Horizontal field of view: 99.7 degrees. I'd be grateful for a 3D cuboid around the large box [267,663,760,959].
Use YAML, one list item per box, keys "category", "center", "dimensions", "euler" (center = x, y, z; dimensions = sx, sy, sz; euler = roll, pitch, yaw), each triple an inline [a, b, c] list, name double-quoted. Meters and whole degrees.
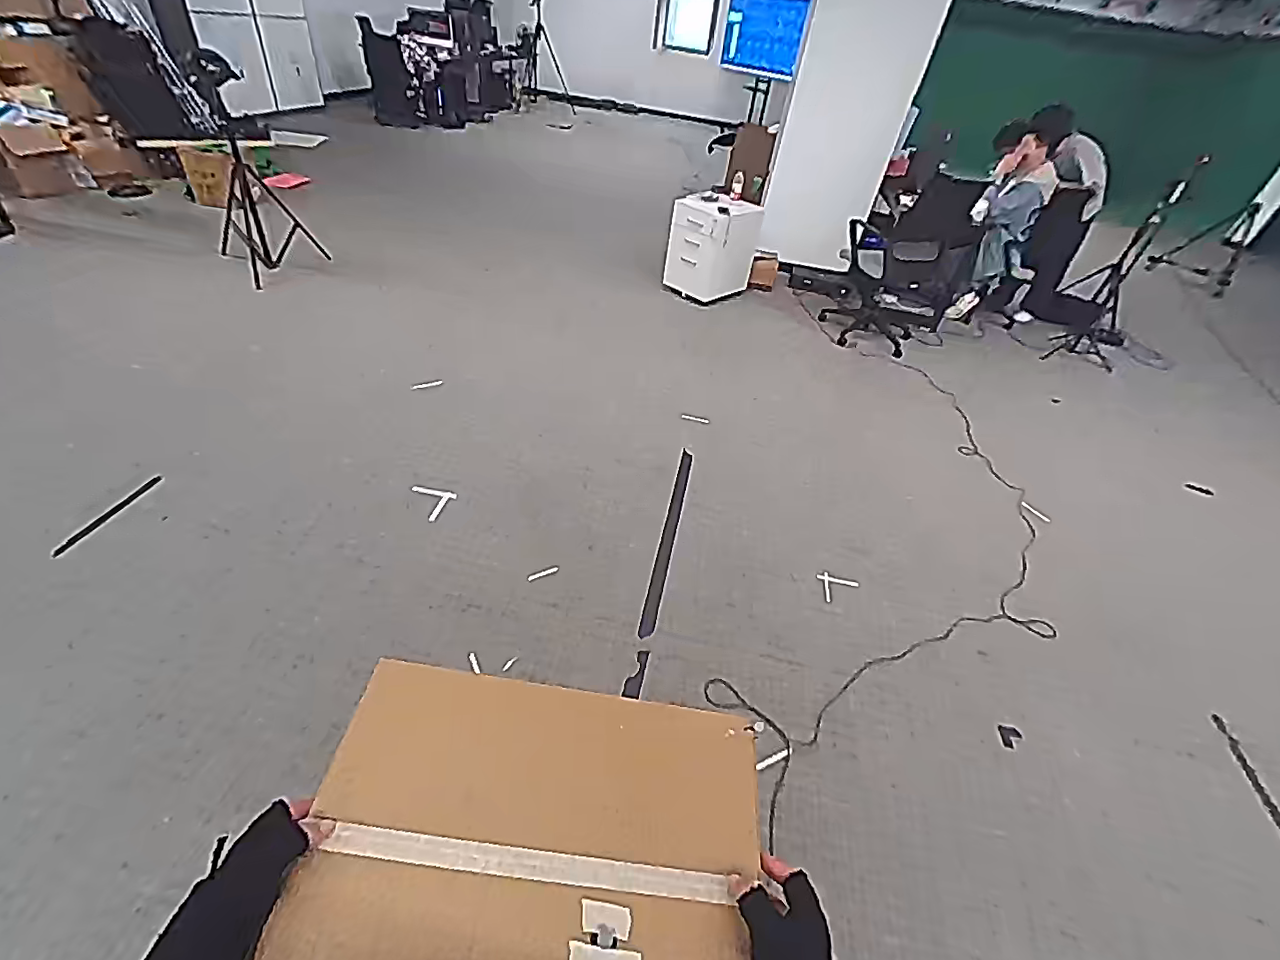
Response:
- category: "large box"
  center: [-0.113, 0.438, 0.598]
  dimensions: [0.408, 0.320, 0.320]
  euler: [10, 47, -3]
